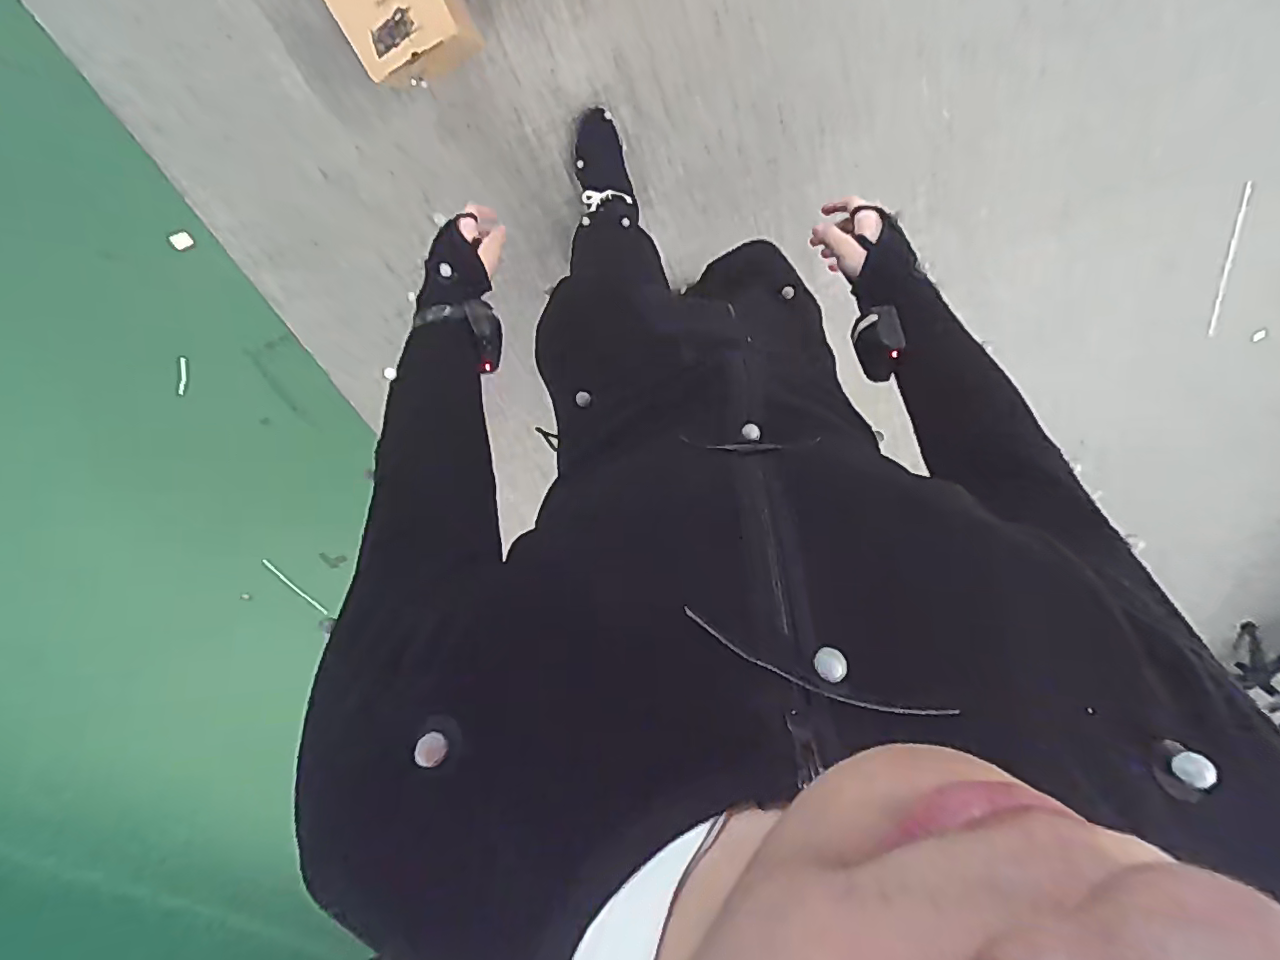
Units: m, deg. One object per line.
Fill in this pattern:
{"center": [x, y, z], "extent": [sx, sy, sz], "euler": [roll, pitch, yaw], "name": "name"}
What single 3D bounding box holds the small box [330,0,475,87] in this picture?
{"center": [-0.397, -0.789, 0.896], "extent": [0.168, 0.176, 0.179], "euler": [-23, 124, 9], "name": "small box"}
